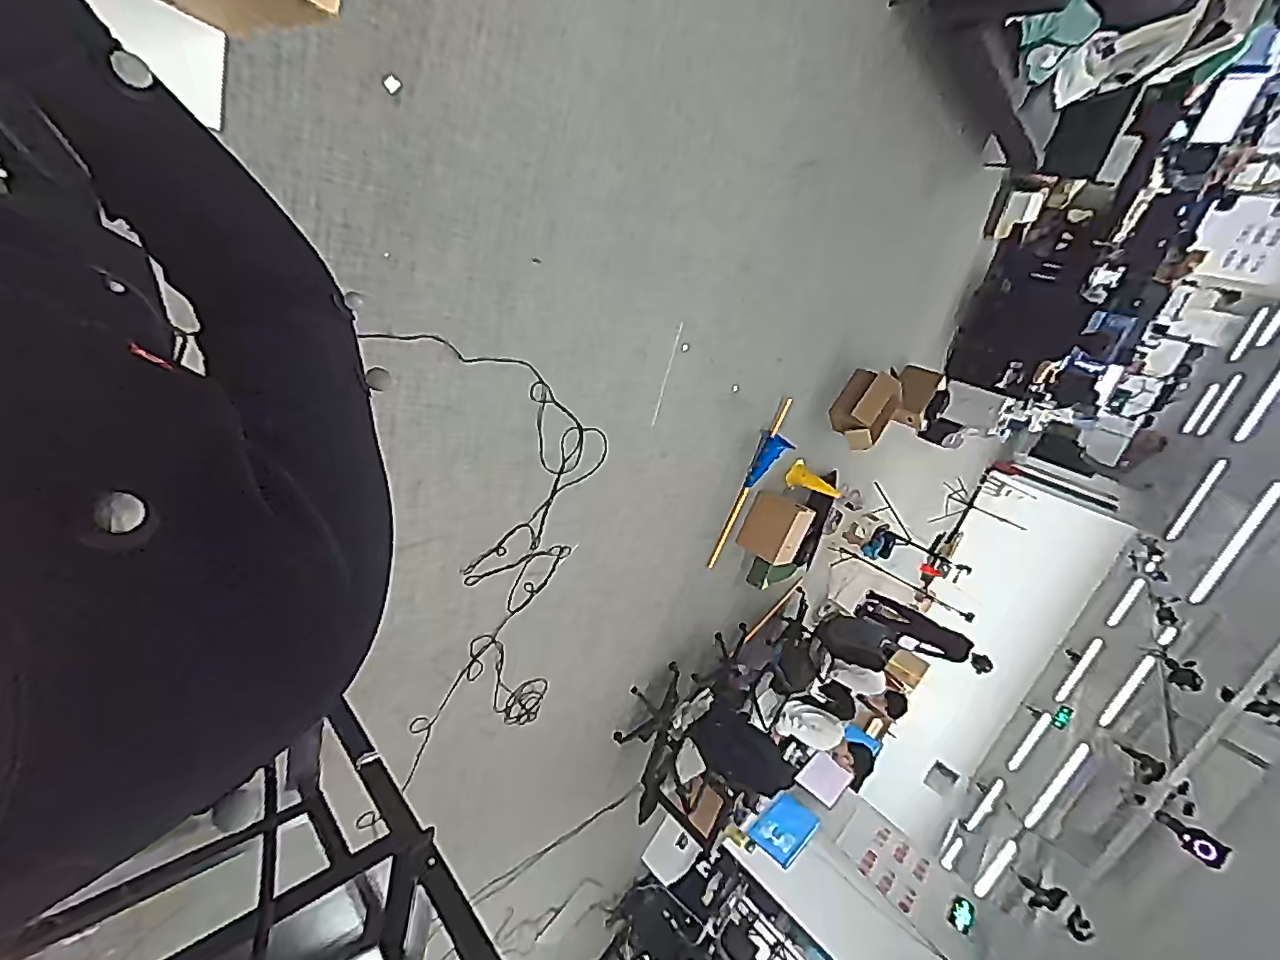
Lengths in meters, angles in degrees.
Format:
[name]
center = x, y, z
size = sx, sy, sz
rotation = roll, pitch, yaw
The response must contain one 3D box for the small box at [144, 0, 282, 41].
[small box]
center = -0.439, -0.550, 0.496
size = 0.168, 0.176, 0.179
rotation = 0, 115, -49
